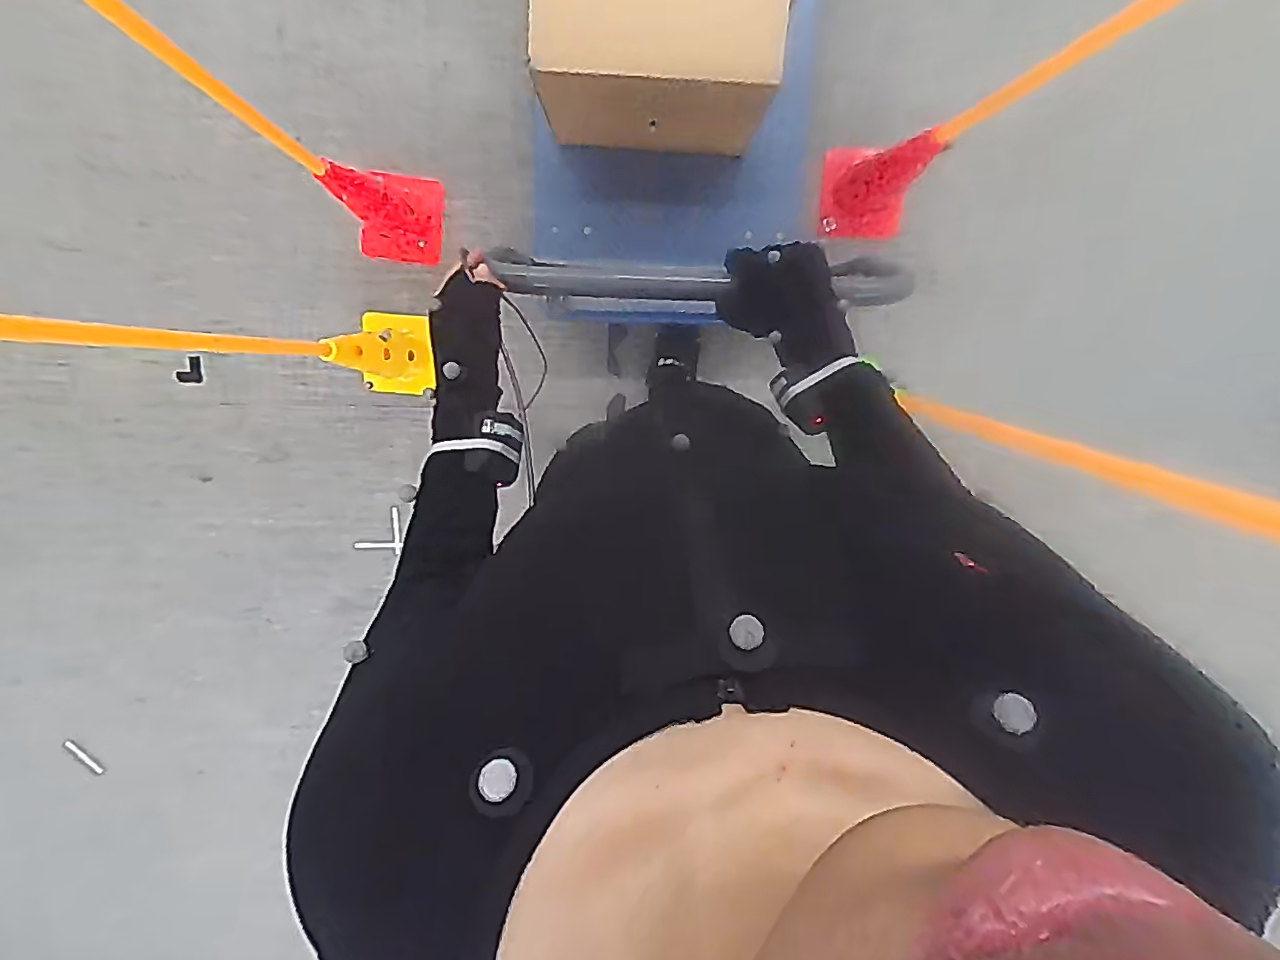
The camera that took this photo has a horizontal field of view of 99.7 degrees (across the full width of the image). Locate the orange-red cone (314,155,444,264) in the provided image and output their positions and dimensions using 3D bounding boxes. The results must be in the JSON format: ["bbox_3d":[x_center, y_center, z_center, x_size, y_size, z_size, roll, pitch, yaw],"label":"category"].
[{"bbox_3d":[-0.588,-0.618,1.171,0.198,0.360,0.199,9,100,-2],"label":"orange-red cone"}]

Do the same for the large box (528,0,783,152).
[{"bbox_3d":[0.029,-0.818,0.976,0.408,0.320,0.320,3,103,0],"label":"large box"}]

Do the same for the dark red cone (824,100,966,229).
[{"bbox_3d":[0.544,-0.674,1.128,0.201,0.394,0.202,1,102,-2],"label":"dark red cone"}]

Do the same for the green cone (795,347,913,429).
[{"bbox_3d":[0.513,-0.203,1.243,0.202,0.368,0.200,5,102,-2],"label":"green cone"}]
